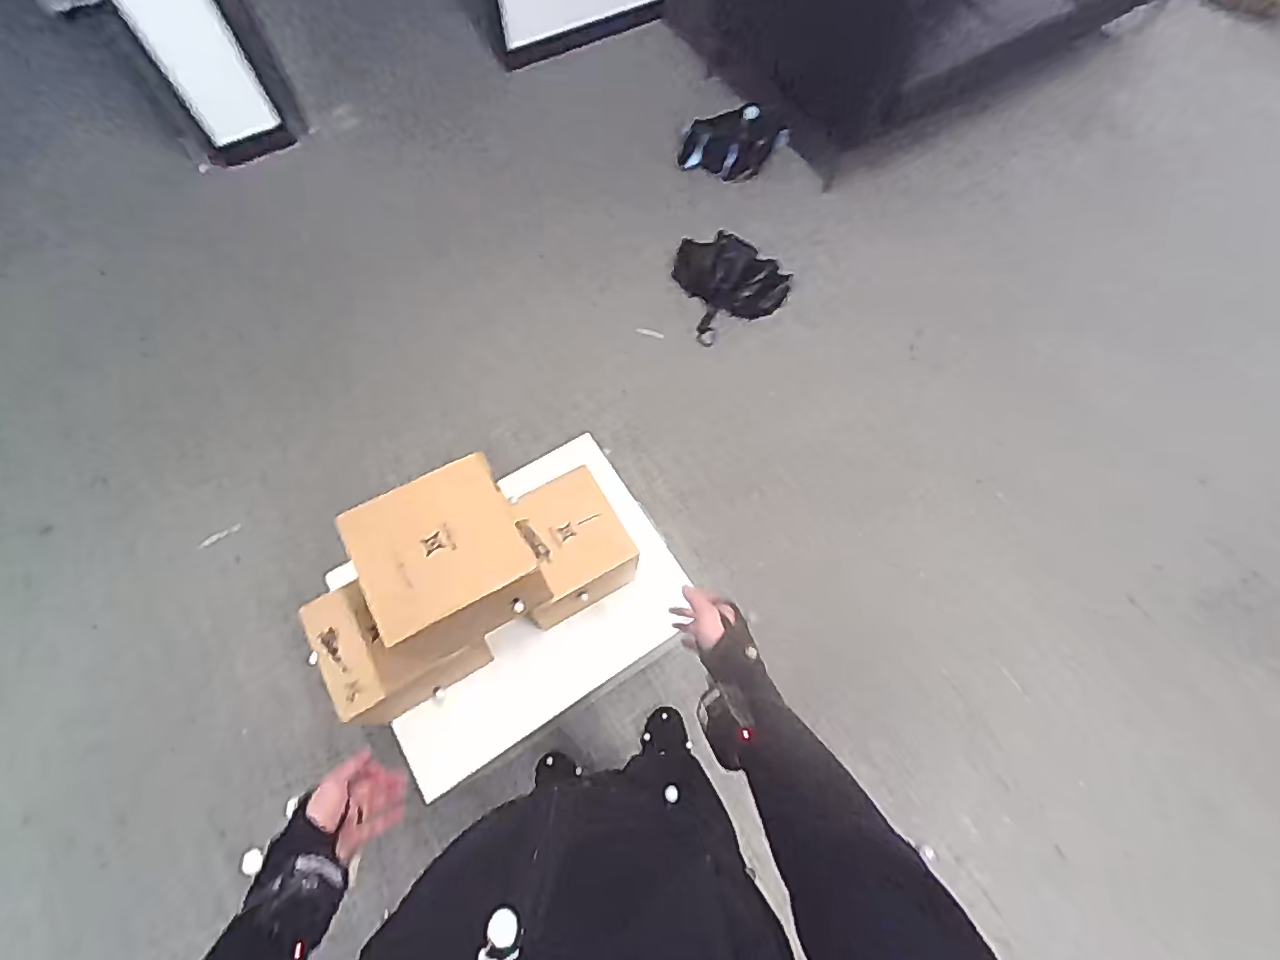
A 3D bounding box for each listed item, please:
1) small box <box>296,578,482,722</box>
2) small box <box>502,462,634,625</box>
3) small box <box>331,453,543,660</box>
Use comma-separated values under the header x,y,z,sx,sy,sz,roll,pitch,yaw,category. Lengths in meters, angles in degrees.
x,y,z,sx,sy,sz,roll,pitch,yaw,category
-0.345,0.226,0.782,0.179,0.176,0.168,-30,71,-17,small box
-0.123,0.107,0.843,0.179,0.176,0.168,-28,71,-14,small box
-0.231,0.100,0.664,0.179,0.176,0.168,-29,70,-13,small box
